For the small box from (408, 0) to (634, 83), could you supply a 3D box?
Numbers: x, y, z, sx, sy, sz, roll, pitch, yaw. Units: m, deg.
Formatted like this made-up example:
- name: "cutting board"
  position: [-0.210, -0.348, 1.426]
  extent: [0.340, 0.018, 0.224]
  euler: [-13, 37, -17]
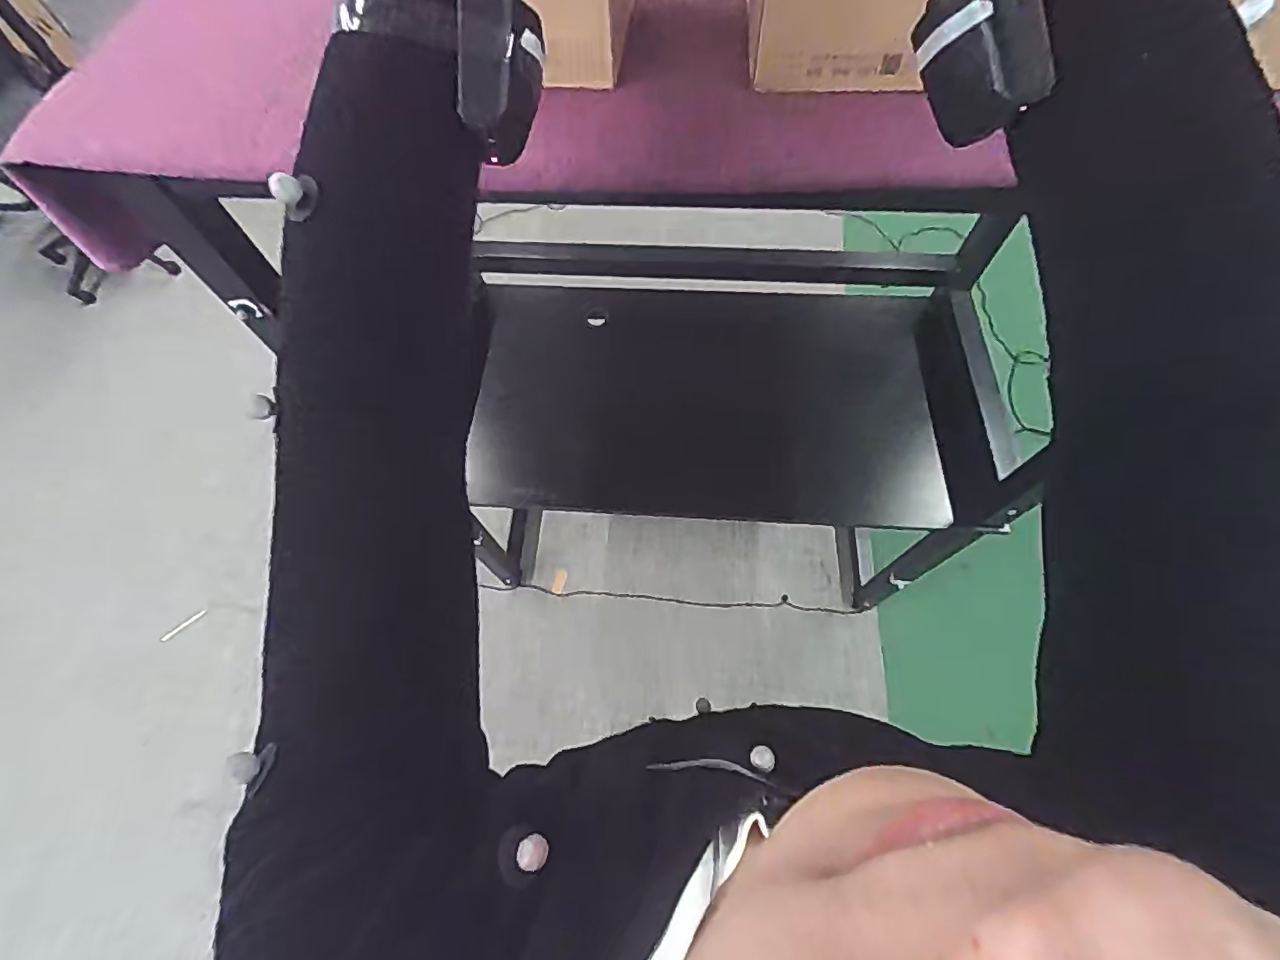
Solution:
- name: "small box"
  position: [-0.093, -0.446, 0.423]
  extent: [0.168, 0.176, 0.179]
  euler: [5, 63, 3]
